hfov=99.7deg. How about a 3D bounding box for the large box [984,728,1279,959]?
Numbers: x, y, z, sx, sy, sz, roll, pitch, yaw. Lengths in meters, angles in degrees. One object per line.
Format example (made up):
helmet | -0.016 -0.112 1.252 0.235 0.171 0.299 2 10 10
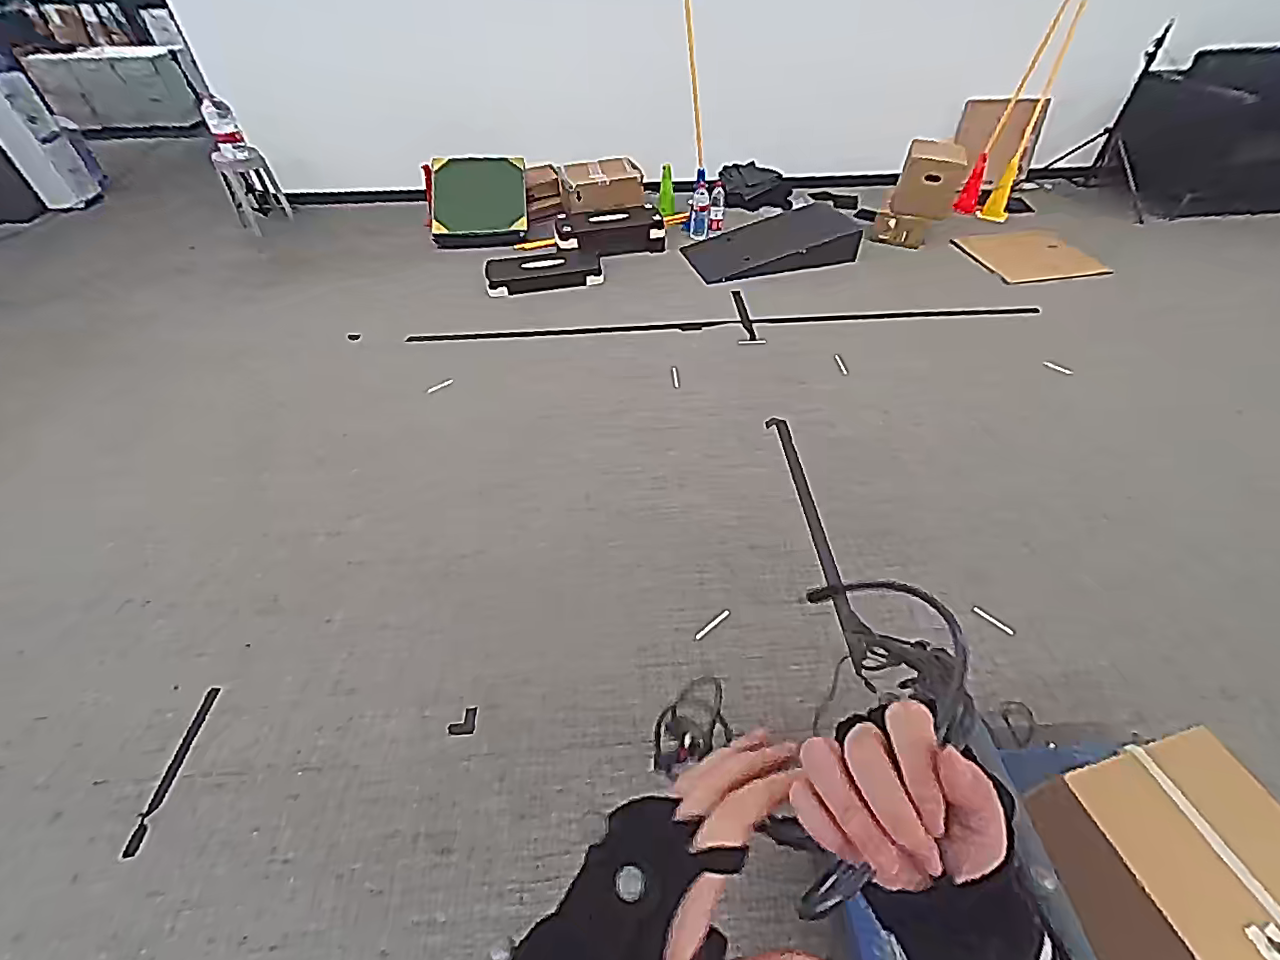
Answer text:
large box | 0.916 0.715 0.929 0.320 0.320 0.408 -12 48 -10
